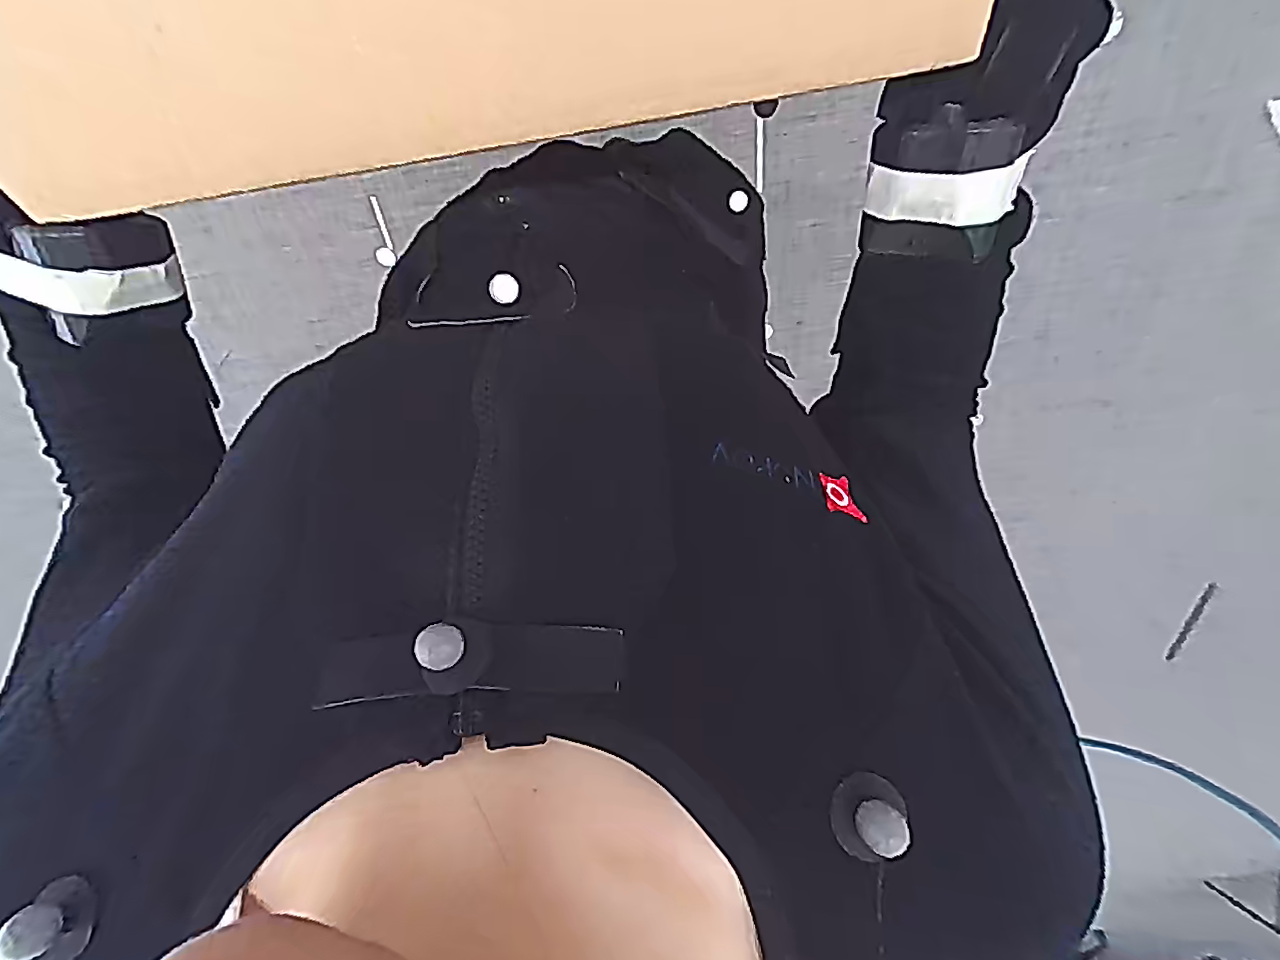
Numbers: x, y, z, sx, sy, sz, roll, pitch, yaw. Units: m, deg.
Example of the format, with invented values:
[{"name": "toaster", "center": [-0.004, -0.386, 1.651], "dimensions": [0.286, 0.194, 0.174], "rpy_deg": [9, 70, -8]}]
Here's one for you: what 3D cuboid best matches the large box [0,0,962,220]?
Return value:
[{"name": "large box", "center": [-0.096, -0.360, 0.240], "dimensions": [0.408, 0.320, 0.320], "rpy_deg": [-8, 132, 4]}]
